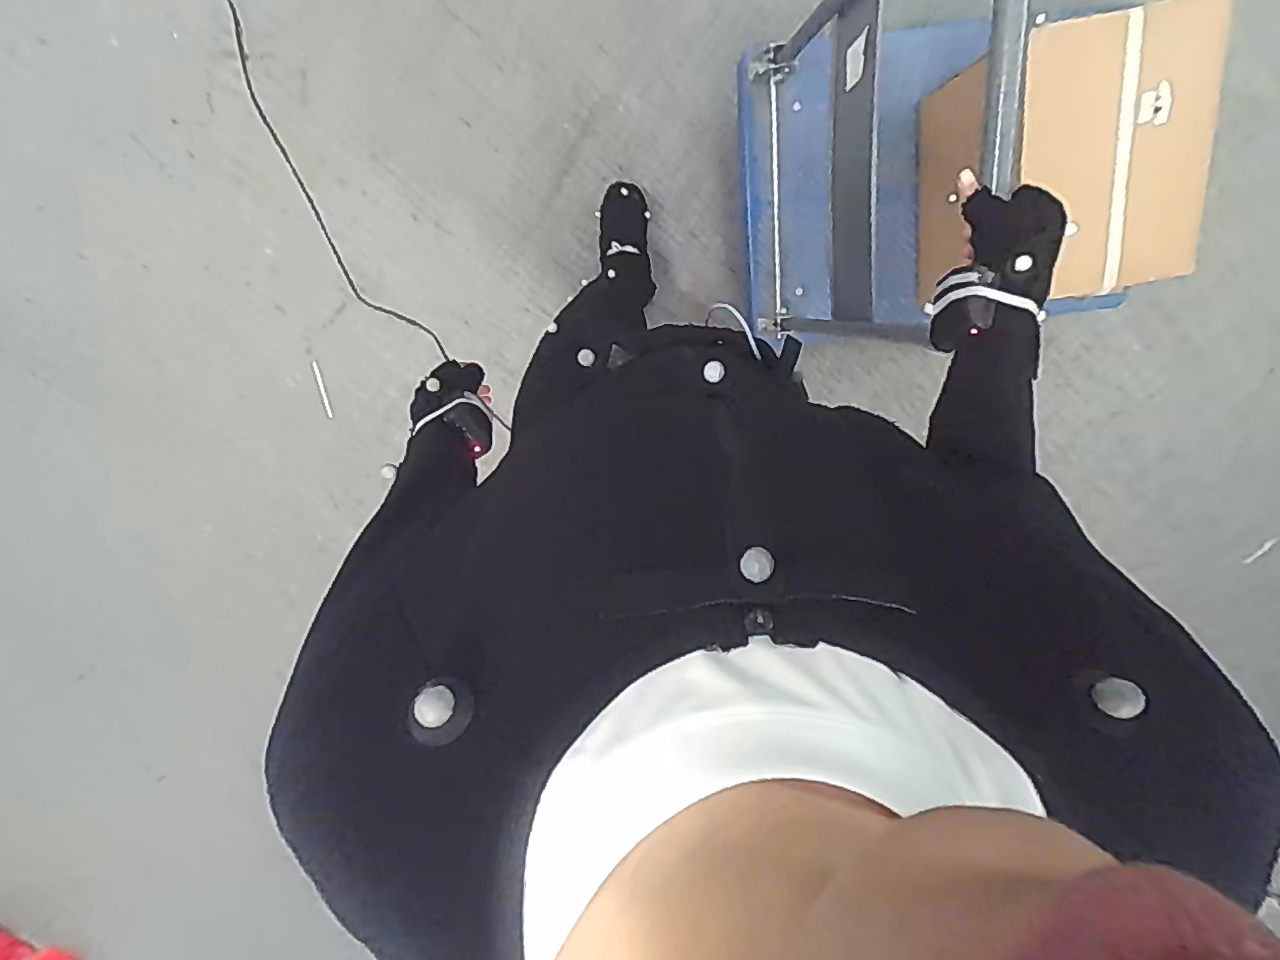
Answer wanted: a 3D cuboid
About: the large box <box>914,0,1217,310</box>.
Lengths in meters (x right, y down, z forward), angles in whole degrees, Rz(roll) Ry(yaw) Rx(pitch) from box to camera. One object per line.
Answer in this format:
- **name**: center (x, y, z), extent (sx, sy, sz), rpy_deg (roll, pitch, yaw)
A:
- **large box**: center (0.743, -0.552, 1.008), extent (0.320, 0.320, 0.408), rpy_deg (-10, 107, 0)
